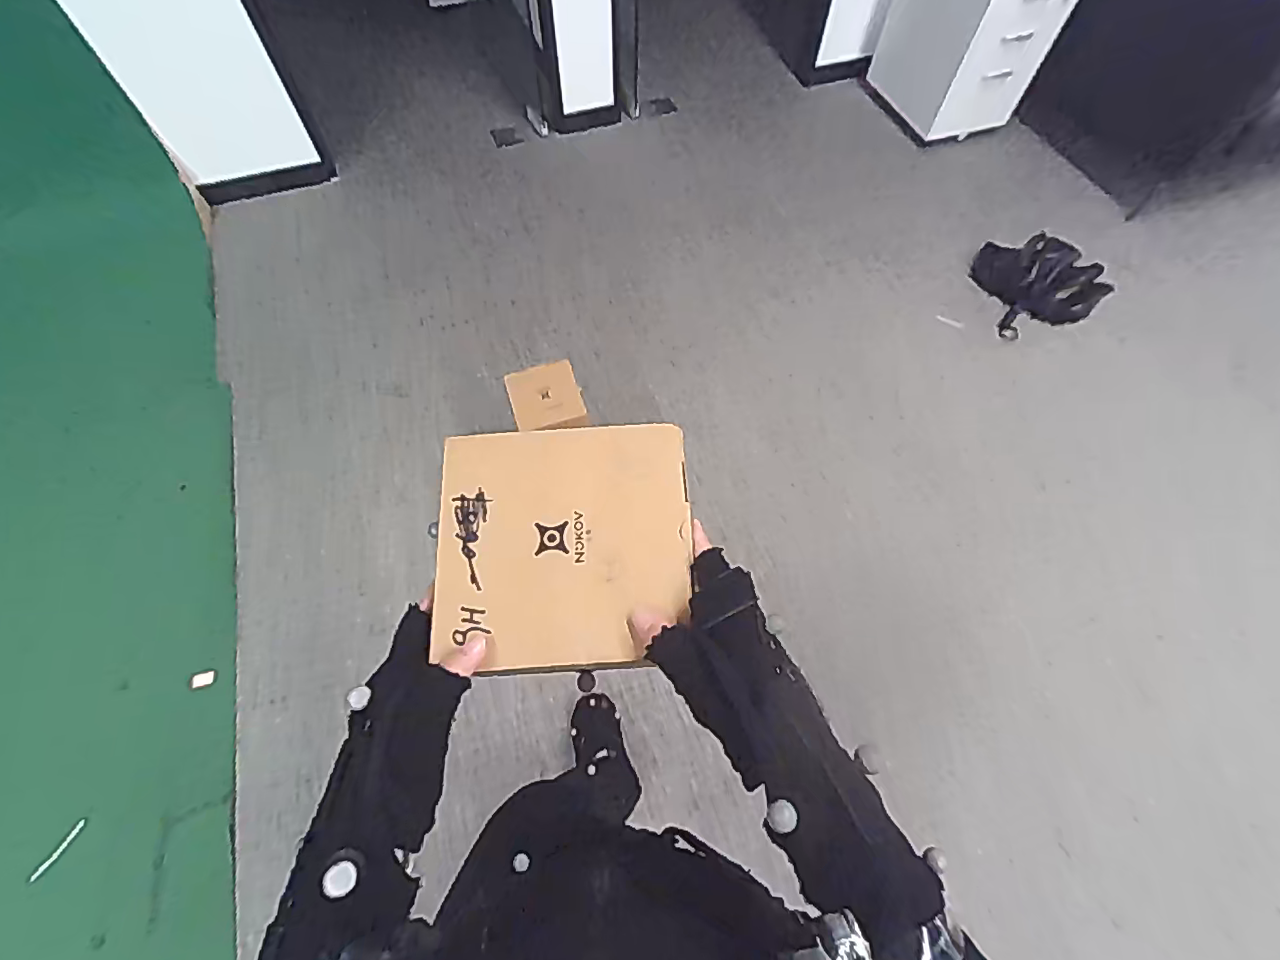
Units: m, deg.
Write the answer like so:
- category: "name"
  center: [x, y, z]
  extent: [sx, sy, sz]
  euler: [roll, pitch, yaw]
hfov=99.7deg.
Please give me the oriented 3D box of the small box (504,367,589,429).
- category: "small box"
  center: [-0.229, -0.149, 1.363]
  extent: [0.168, 0.176, 0.179]
  euler: [-18, 65, -9]

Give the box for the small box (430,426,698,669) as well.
- category: "small box"
  center: [-0.054, 0.066, 0.451]
  extent: [0.179, 0.176, 0.168]
  euler: [-3, 69, -2]
